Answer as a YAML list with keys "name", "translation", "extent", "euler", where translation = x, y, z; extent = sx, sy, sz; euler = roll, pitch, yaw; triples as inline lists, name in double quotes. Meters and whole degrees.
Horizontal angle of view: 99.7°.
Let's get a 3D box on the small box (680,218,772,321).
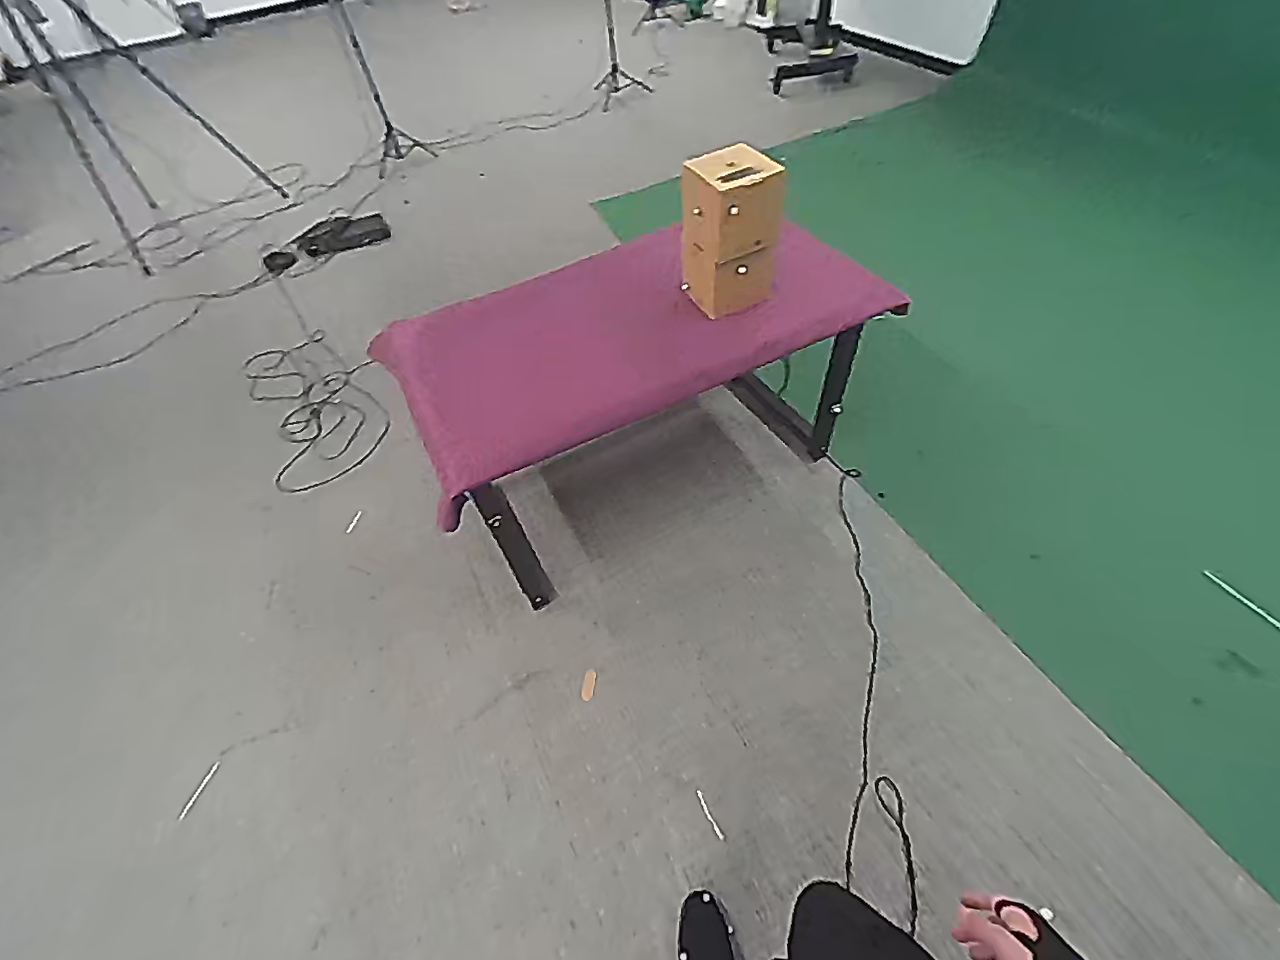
- name: "small box"
  translation: [0.219, -0.540, 1.399]
  extent: [0.179, 0.176, 0.168]
  euler: [-23, 54, -12]
